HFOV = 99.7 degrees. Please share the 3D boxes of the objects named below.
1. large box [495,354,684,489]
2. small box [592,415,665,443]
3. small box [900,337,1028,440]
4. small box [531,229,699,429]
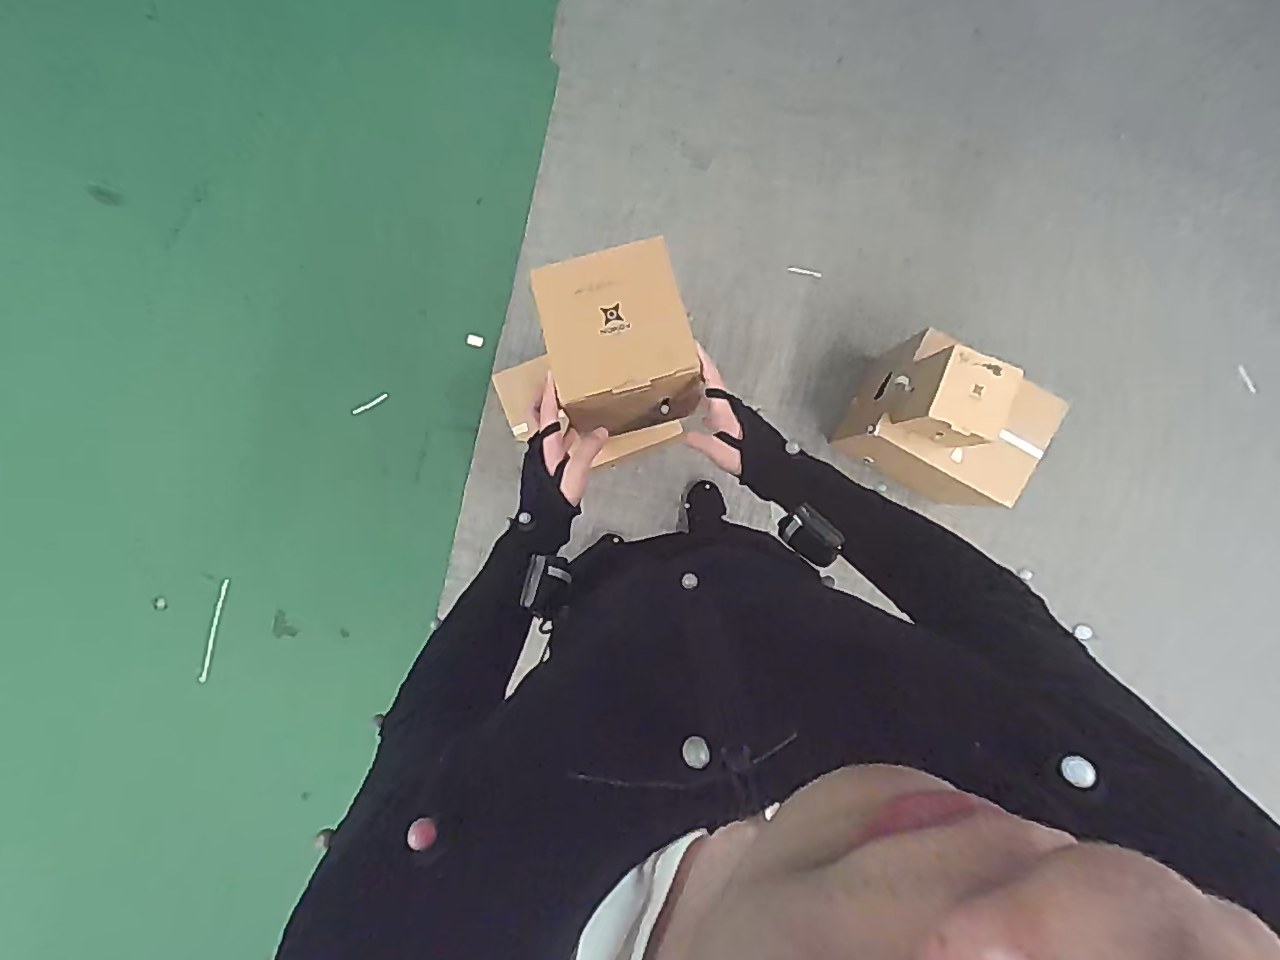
[{"bbox_3d":[-0.124,-0.191,1.498,0.408,0.320,0.320,-22,87,0],"label":"large box"},{"bbox_3d":[-0.045,-0.195,1.251,0.179,0.176,0.168,-22,89,0],"label":"small box"},{"bbox_3d":[0.737,-0.202,1.255,0.168,0.176,0.179,22,90,0],"label":"small box"},{"bbox_3d":[-0.024,-0.175,0.688,0.168,0.176,0.179,-14,77,1],"label":"small box"}]
